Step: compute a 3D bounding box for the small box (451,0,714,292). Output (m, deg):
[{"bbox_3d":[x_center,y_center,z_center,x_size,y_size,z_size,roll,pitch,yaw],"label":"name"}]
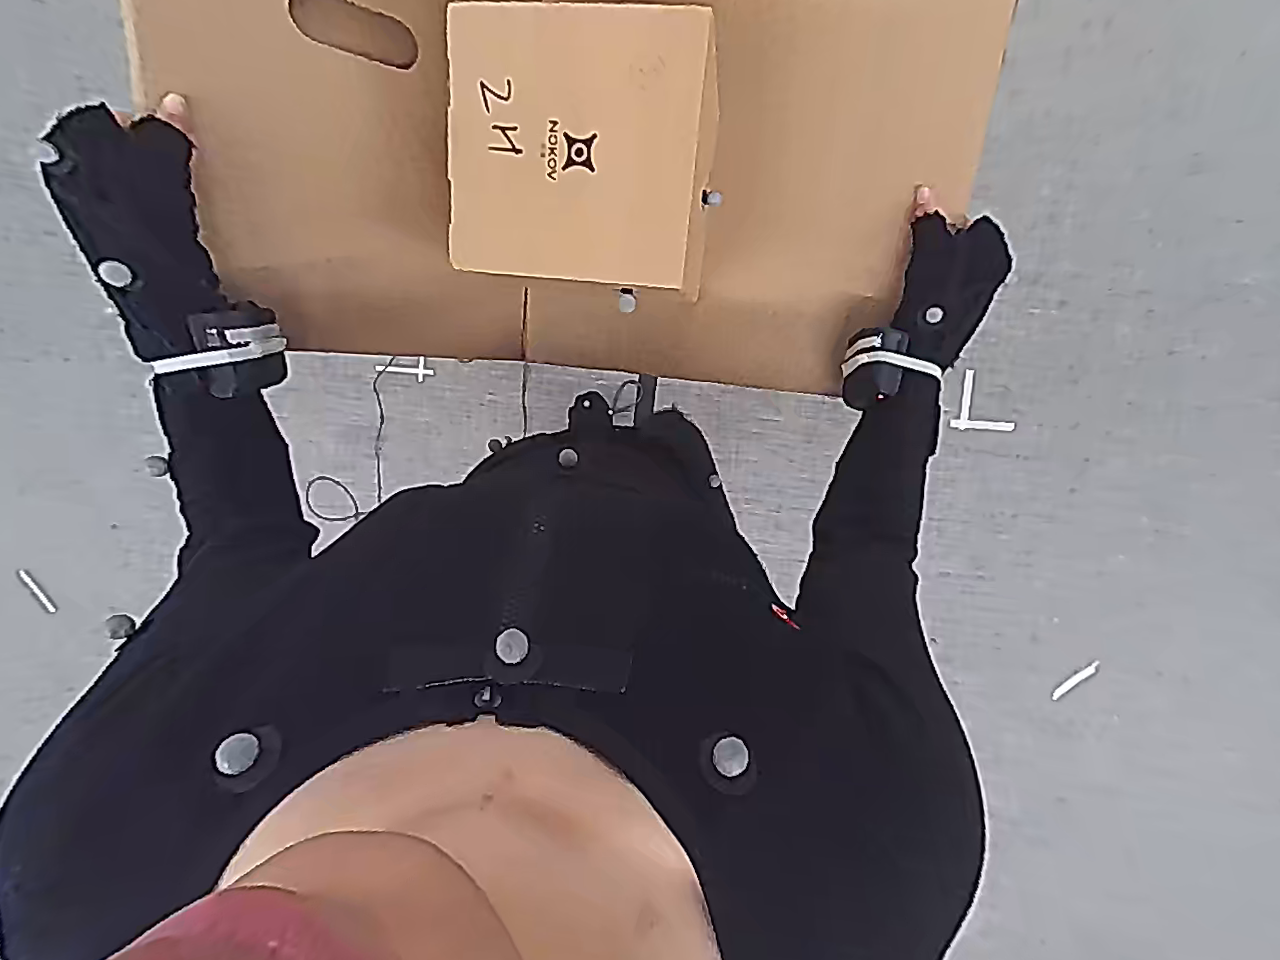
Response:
[{"bbox_3d":[-0.036,-0.253,0.449,0.179,0.176,0.168,8,106,8],"label":"small box"}]
